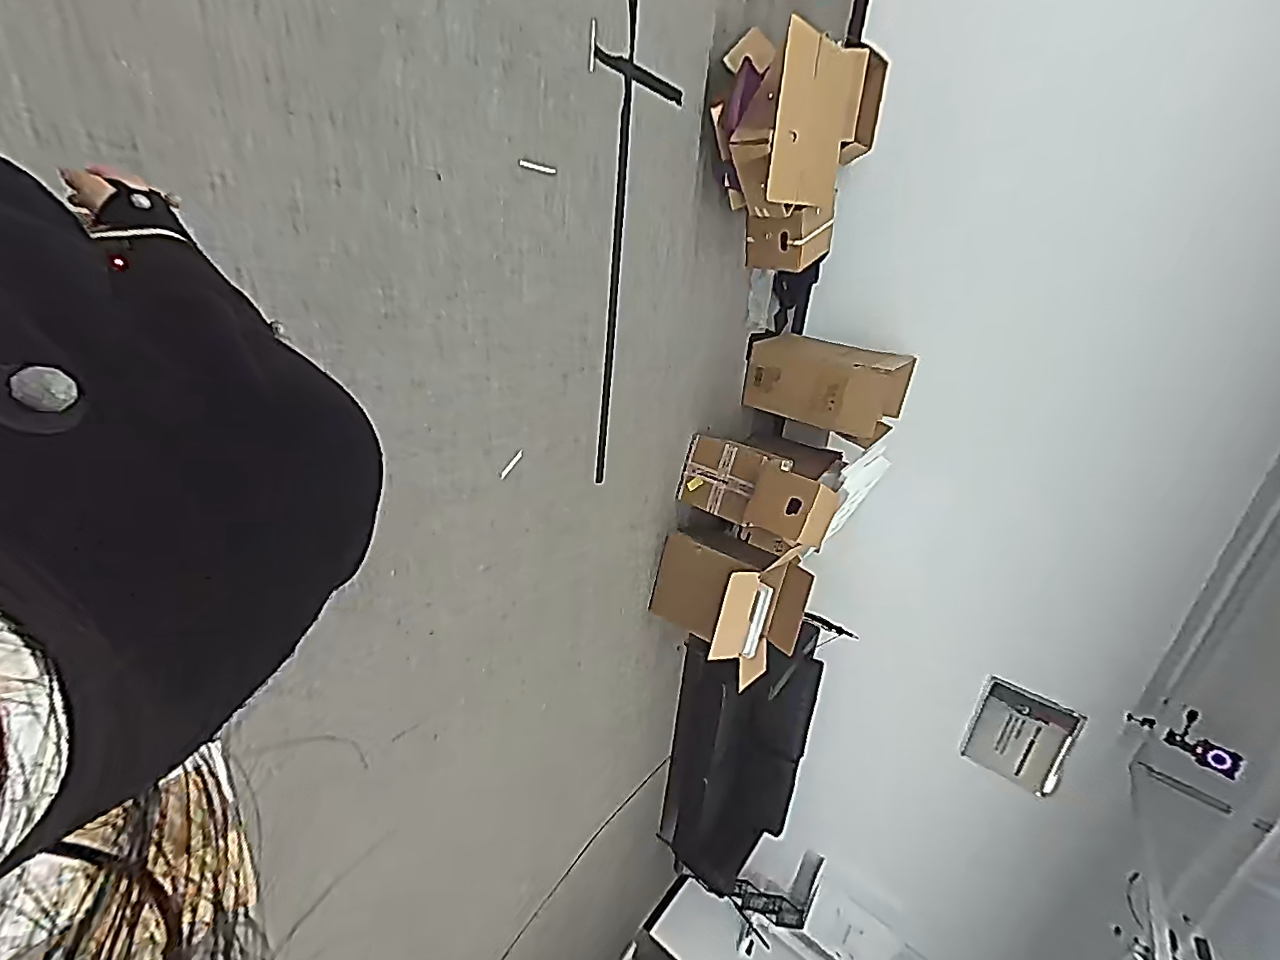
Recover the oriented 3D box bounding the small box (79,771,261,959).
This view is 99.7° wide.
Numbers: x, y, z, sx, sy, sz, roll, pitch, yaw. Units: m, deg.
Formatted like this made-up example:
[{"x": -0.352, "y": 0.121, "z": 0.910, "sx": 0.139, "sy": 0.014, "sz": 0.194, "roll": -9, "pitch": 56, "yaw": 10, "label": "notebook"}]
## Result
[{"x": -0.718, "y": 0.586, "z": 0.830, "sx": 0.168, "sy": 0.176, "sz": 0.179, "roll": -18, "pitch": 120, "yaw": -49, "label": "small box"}]
